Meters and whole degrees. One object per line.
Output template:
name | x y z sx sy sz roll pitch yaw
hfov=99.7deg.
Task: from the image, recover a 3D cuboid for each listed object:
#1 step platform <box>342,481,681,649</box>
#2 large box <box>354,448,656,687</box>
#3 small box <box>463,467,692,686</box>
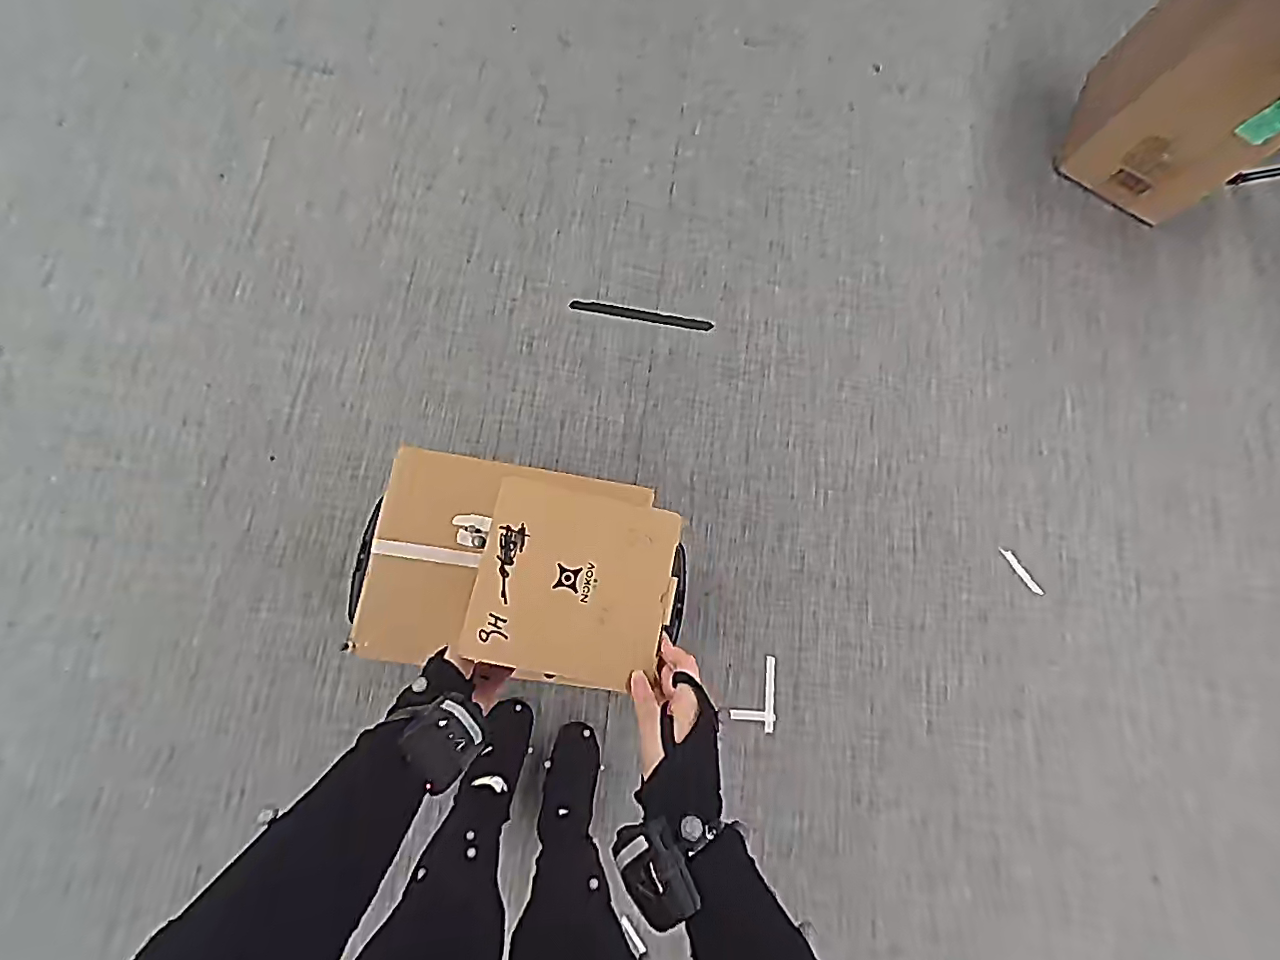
step platform | -0.255 0.221 1.176 0.684 0.204 0.286 15 76 -4
large box | -0.204 0.158 0.951 0.408 0.320 0.320 10 76 -5
small box | -0.064 0.101 0.560 0.179 0.176 0.168 14 75 -8
